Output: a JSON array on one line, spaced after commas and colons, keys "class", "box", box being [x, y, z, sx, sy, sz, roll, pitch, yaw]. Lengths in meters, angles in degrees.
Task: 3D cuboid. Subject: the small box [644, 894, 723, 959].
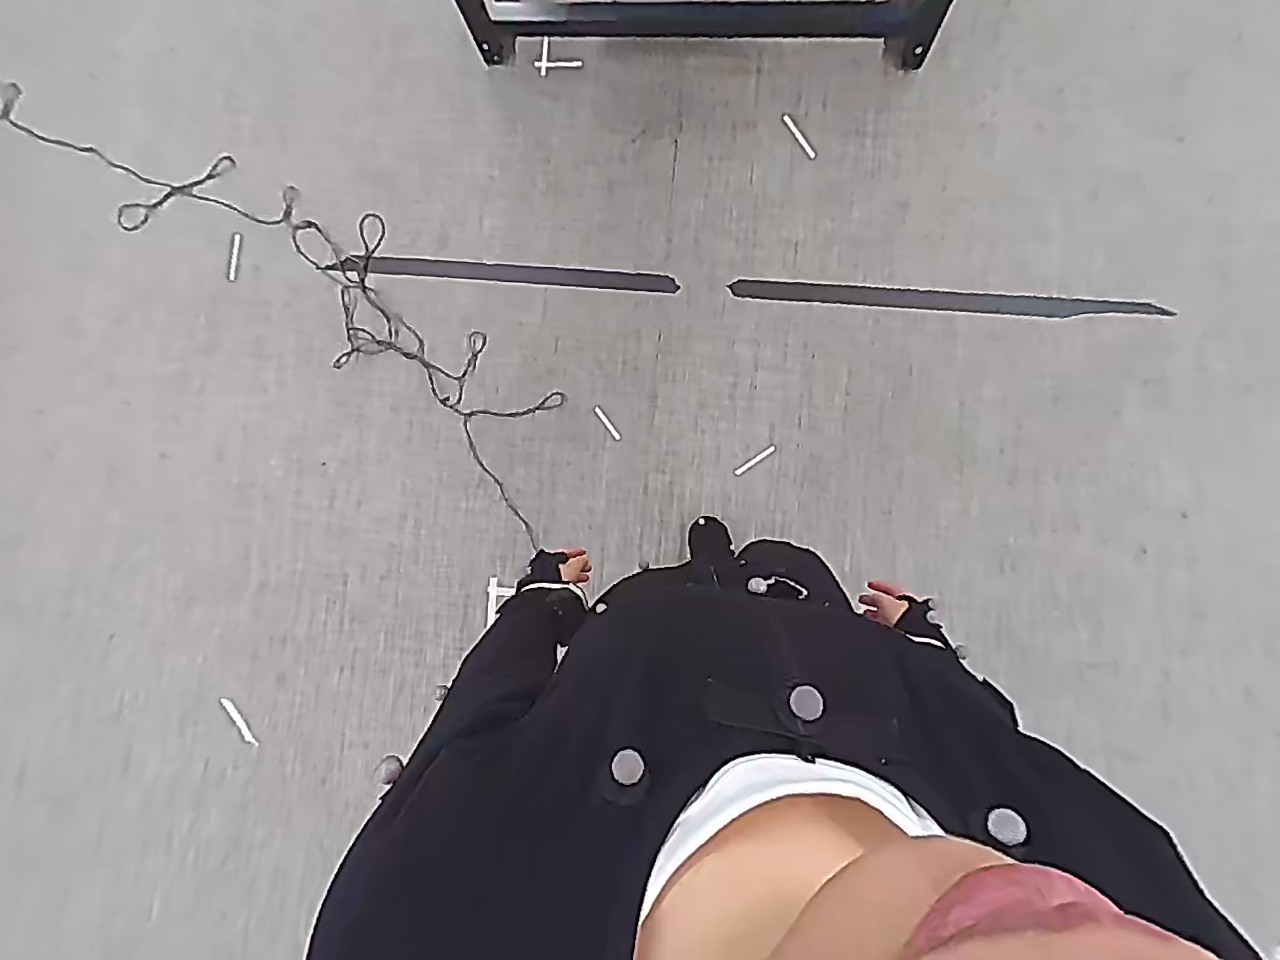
[{"class": "small box", "box": [0.098, 1.116, 1.256, 0.179, 0.176, 0.168, 6, 87, 7]}]
